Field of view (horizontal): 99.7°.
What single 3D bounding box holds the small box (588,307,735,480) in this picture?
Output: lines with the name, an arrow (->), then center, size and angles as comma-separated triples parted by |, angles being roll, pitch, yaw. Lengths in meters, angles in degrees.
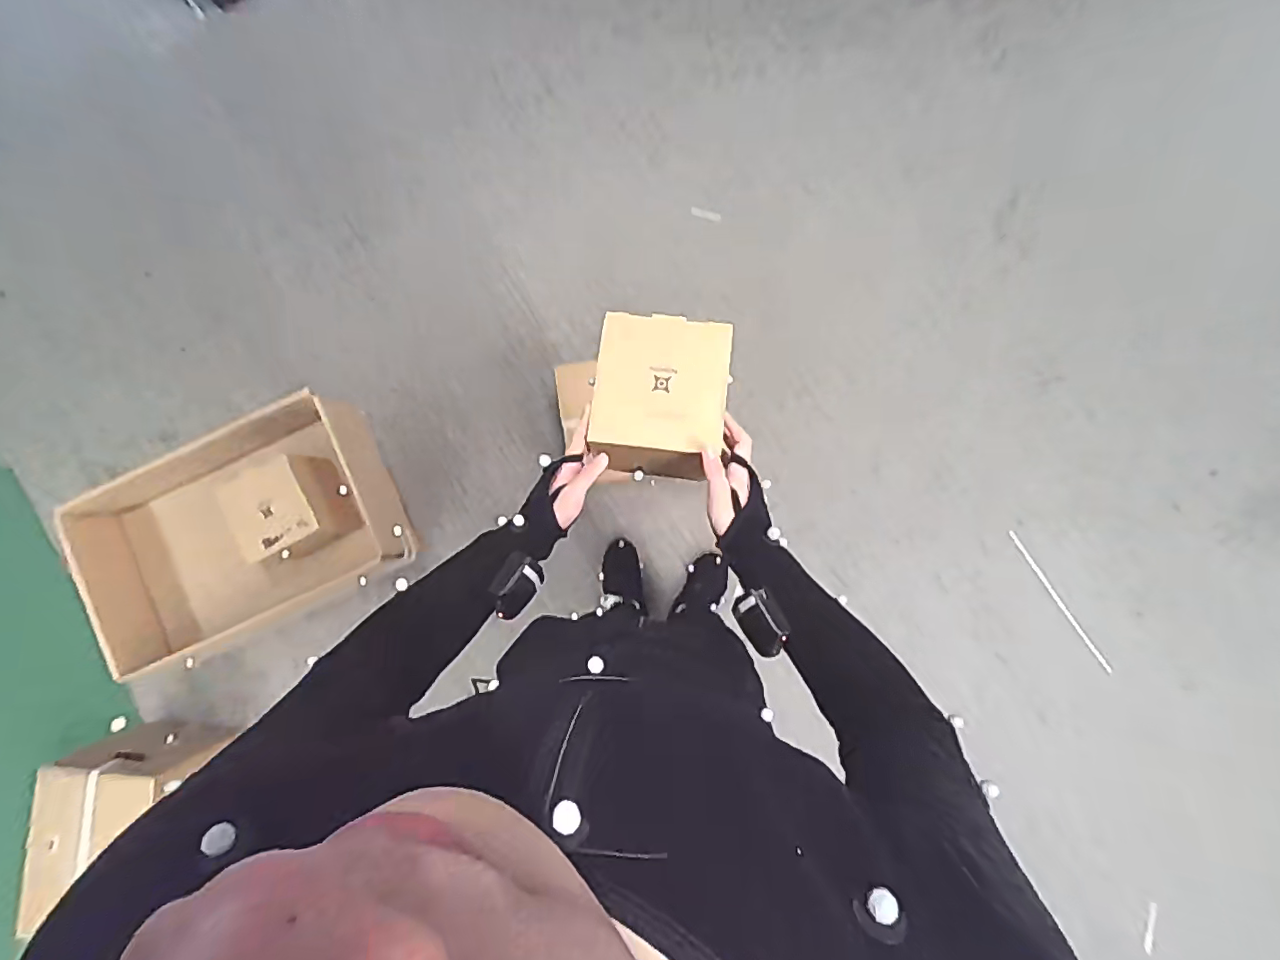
small box -> 0.027, -0.109, 0.742 | 0.168, 0.176, 0.179 | 7, 79, 1

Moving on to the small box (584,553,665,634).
small box -> -0.046, 0.325, 1.564 | 0.179, 0.176, 0.168 | 35, 86, 12

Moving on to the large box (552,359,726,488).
large box -> 0.003, -0.161, 1.505 | 0.408, 0.320, 0.320 | -9, 86, 2
